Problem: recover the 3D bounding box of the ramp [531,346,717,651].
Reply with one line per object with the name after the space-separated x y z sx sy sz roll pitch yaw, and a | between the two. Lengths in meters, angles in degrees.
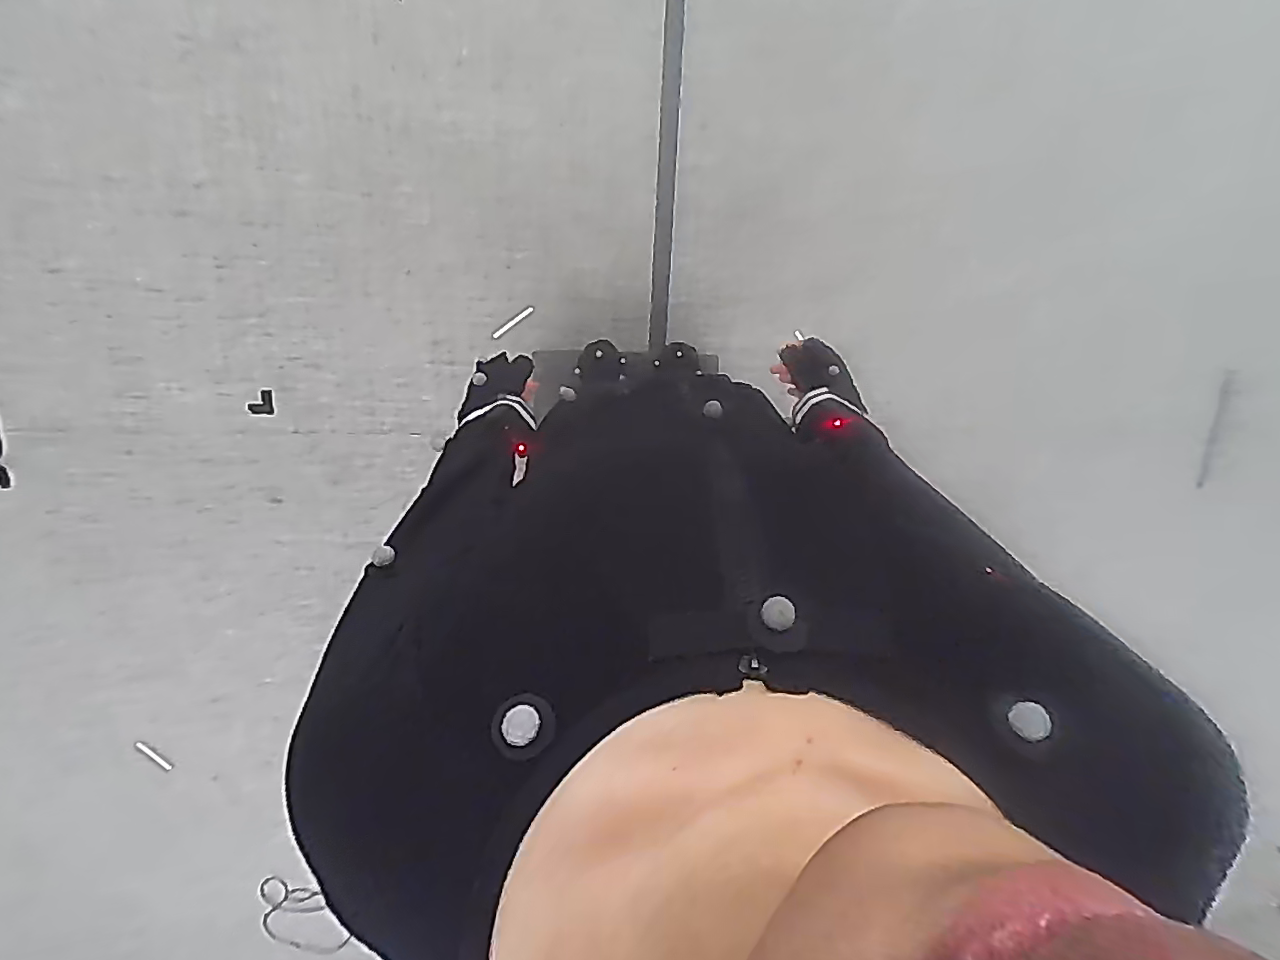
-0.052 0.109 1.604 0.509 0.206 0.991 -2 104 -5 | ramp
